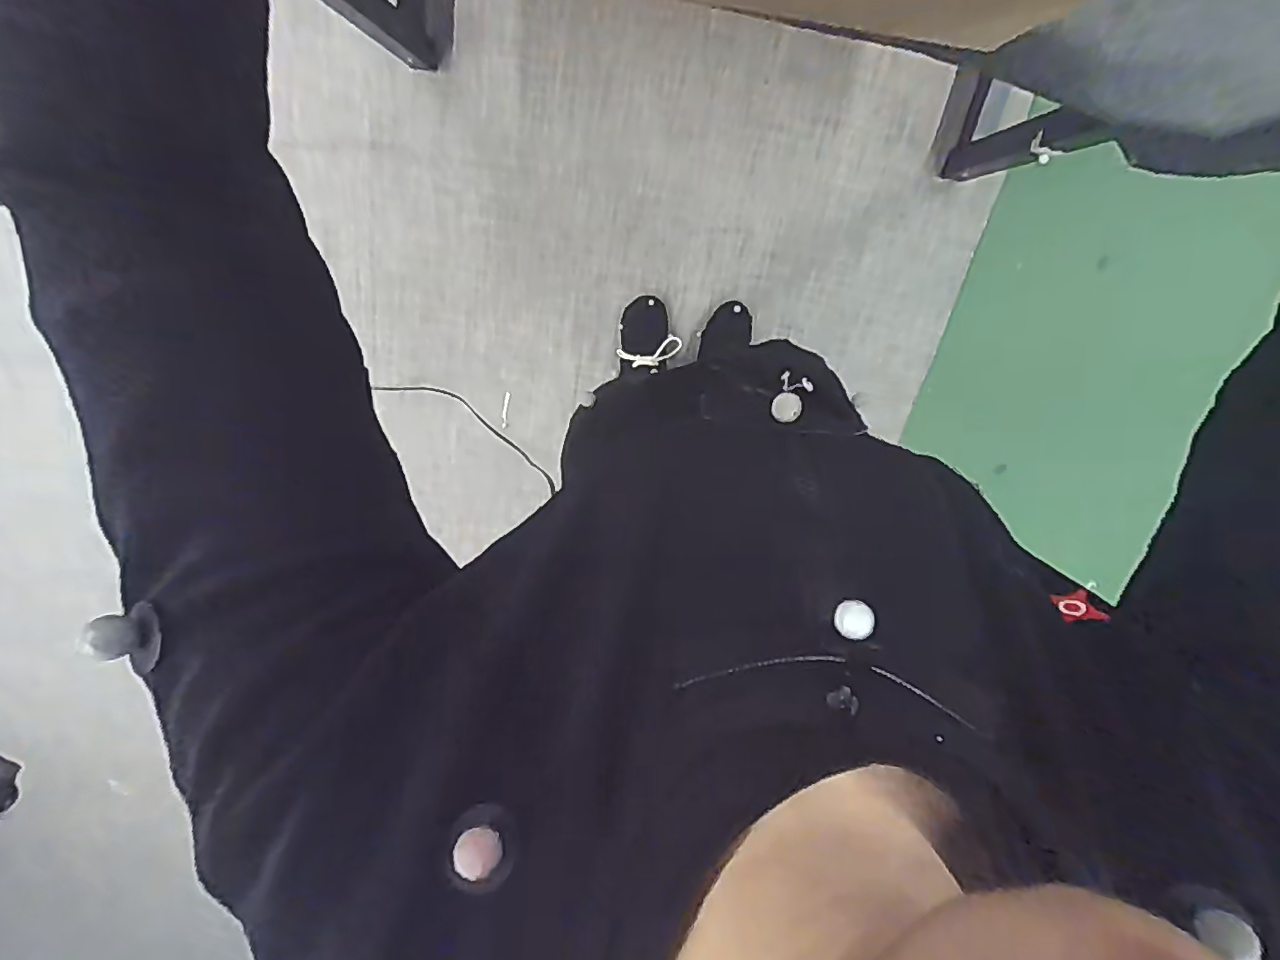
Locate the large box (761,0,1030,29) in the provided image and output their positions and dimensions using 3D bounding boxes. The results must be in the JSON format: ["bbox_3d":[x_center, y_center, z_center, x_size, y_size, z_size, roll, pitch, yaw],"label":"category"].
[{"bbox_3d":[0.104,-0.469,0.247,0.408,0.320,0.320,8,116,-1],"label":"large box"}]
